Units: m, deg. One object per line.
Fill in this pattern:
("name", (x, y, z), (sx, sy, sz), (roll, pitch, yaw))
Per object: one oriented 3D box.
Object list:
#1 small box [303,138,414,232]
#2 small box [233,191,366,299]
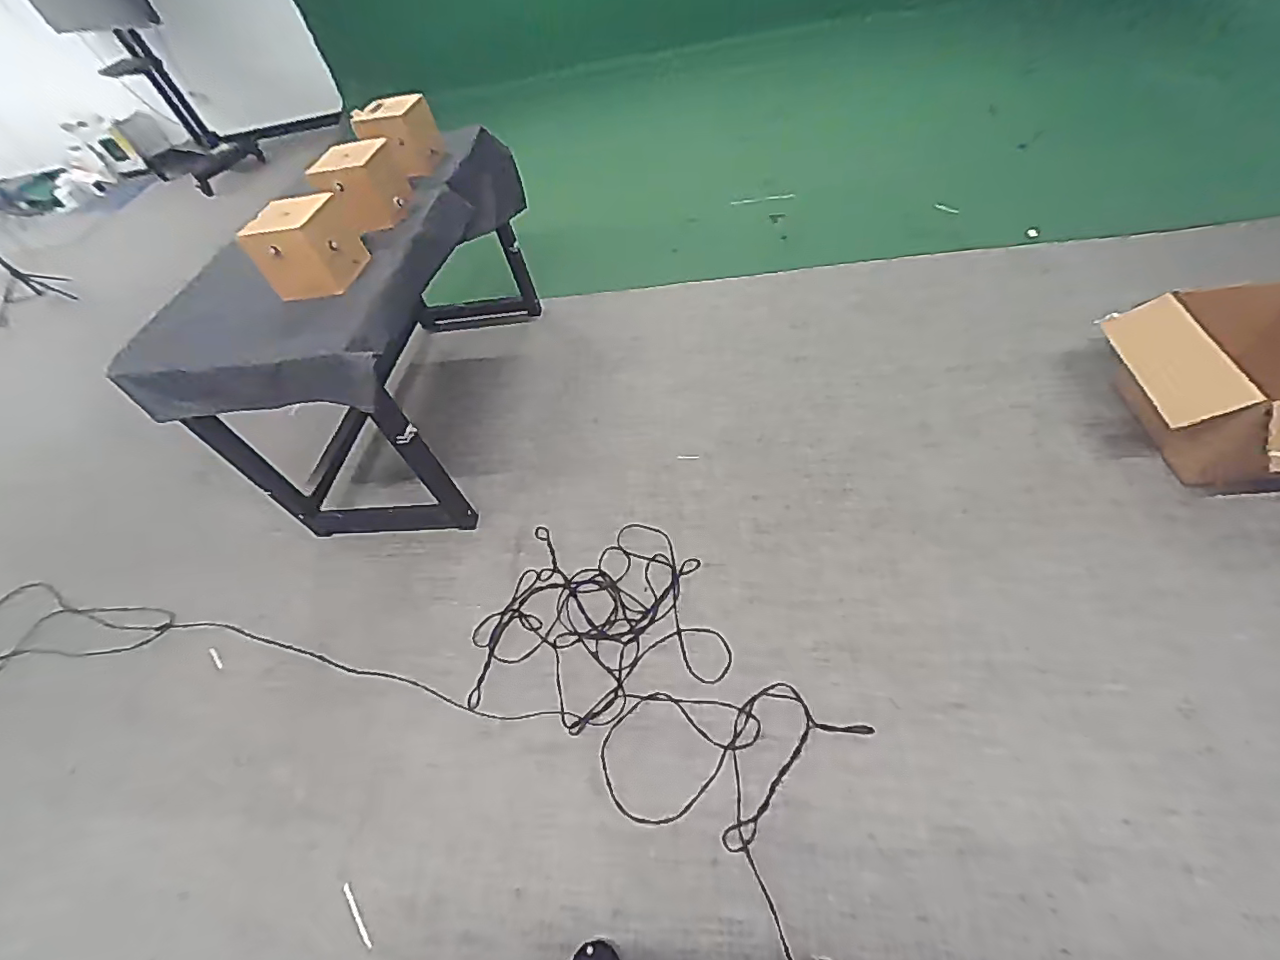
("small box", (-0.757, -0.797, 1.472), (0.179, 0.176, 0.168), (-1, 53, 11))
("small box", (-0.796, -0.555, 1.289), (0.179, 0.176, 0.168), (-2, 52, 12))
